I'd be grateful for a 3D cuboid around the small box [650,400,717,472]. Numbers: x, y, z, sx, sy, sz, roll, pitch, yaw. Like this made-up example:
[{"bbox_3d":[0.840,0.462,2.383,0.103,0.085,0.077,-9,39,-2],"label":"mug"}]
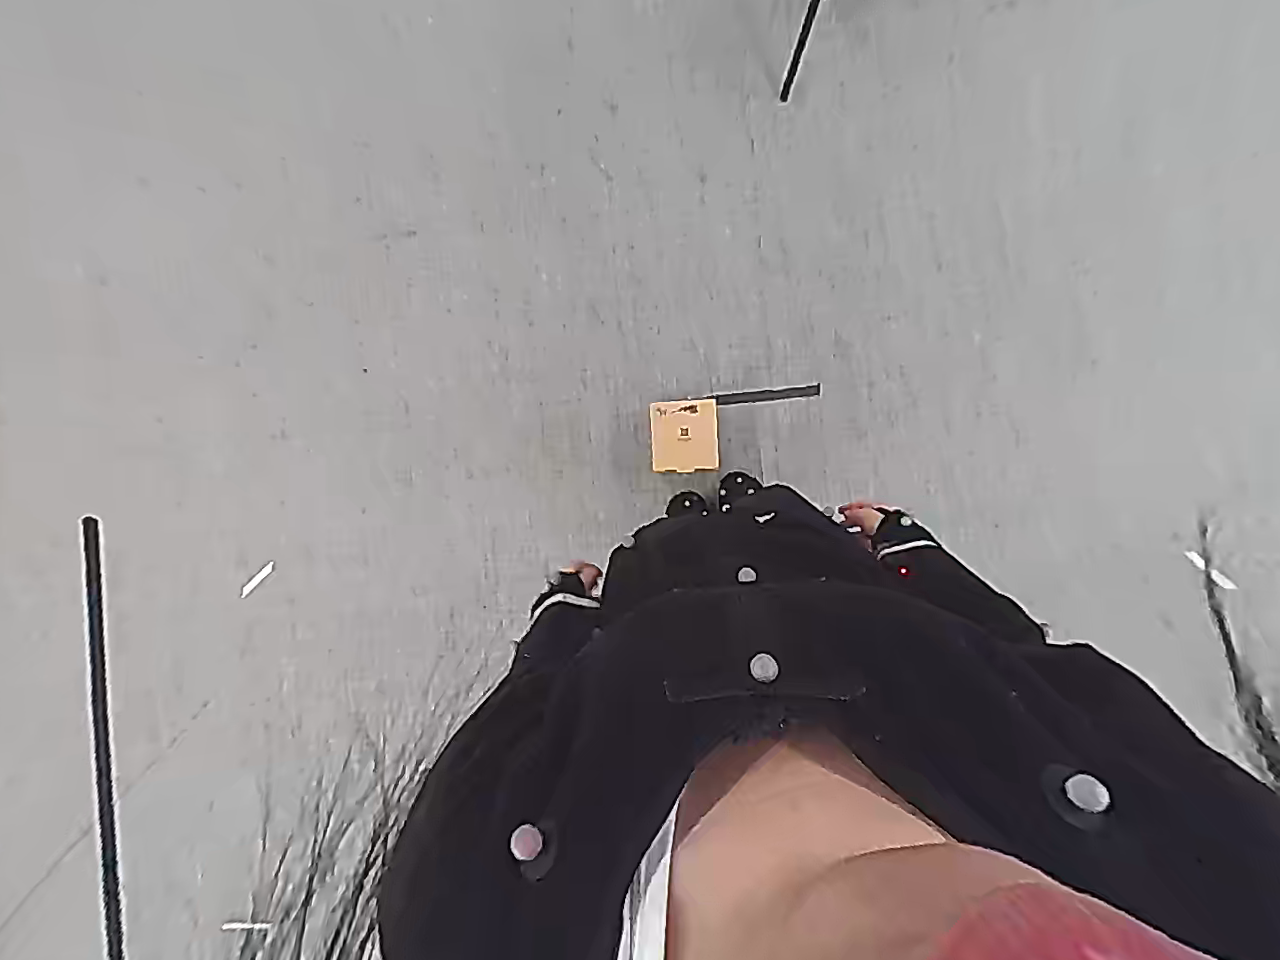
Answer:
[{"bbox_3d":[0.115,-0.113,1.424,0.168,0.176,0.179,-2,91,4],"label":"small box"}]
